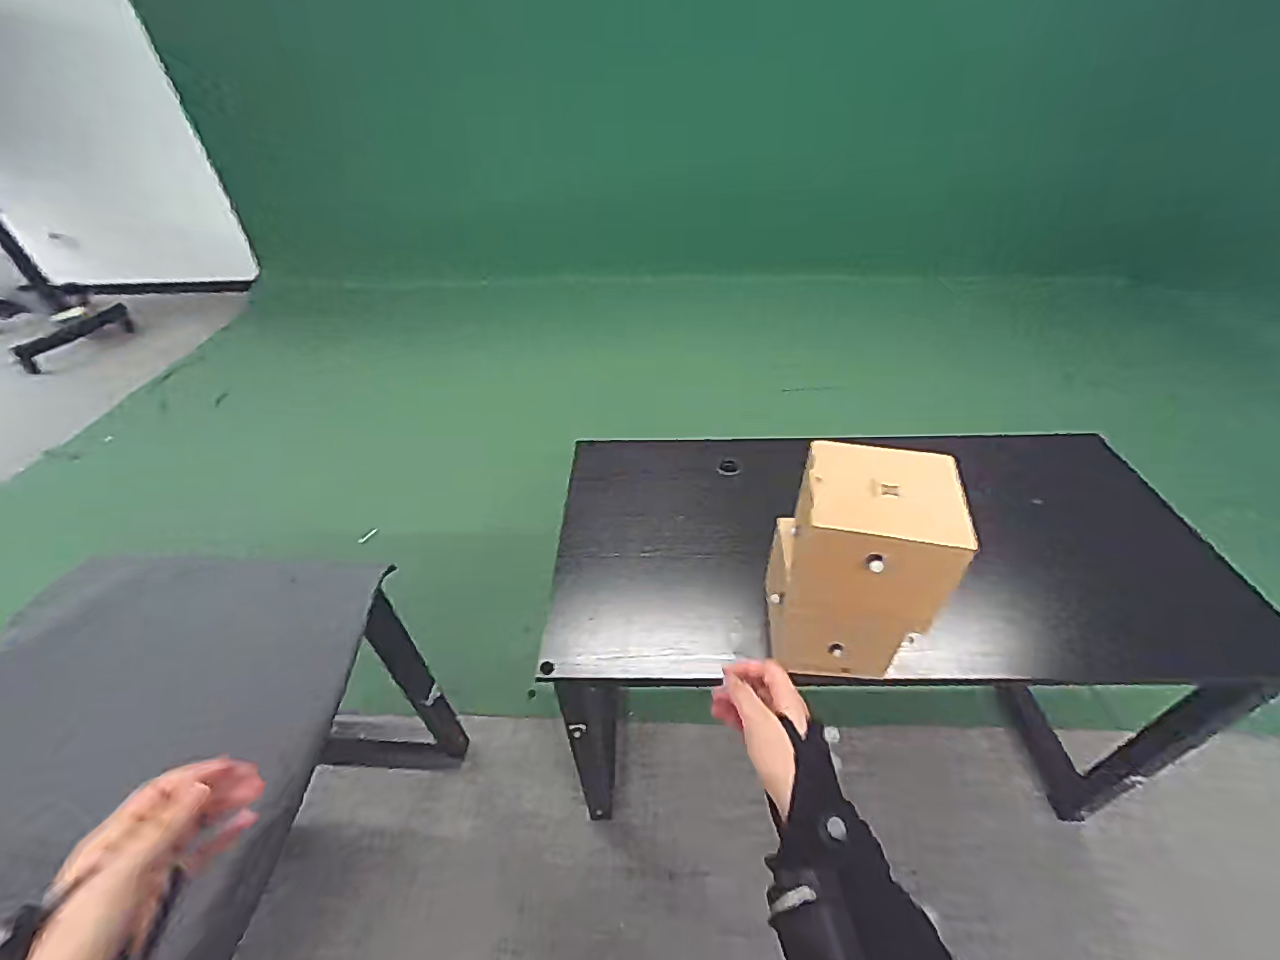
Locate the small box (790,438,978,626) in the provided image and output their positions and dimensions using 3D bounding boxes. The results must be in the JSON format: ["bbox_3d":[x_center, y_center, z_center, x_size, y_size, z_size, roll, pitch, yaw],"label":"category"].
[{"bbox_3d":[0.301,0.069,0.706,0.179,0.176,0.168,8,43,11],"label":"small box"}]

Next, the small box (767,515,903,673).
[{"bbox_3d":[0.293,0.176,0.831,0.168,0.176,0.179,3,42,5],"label":"small box"}]
